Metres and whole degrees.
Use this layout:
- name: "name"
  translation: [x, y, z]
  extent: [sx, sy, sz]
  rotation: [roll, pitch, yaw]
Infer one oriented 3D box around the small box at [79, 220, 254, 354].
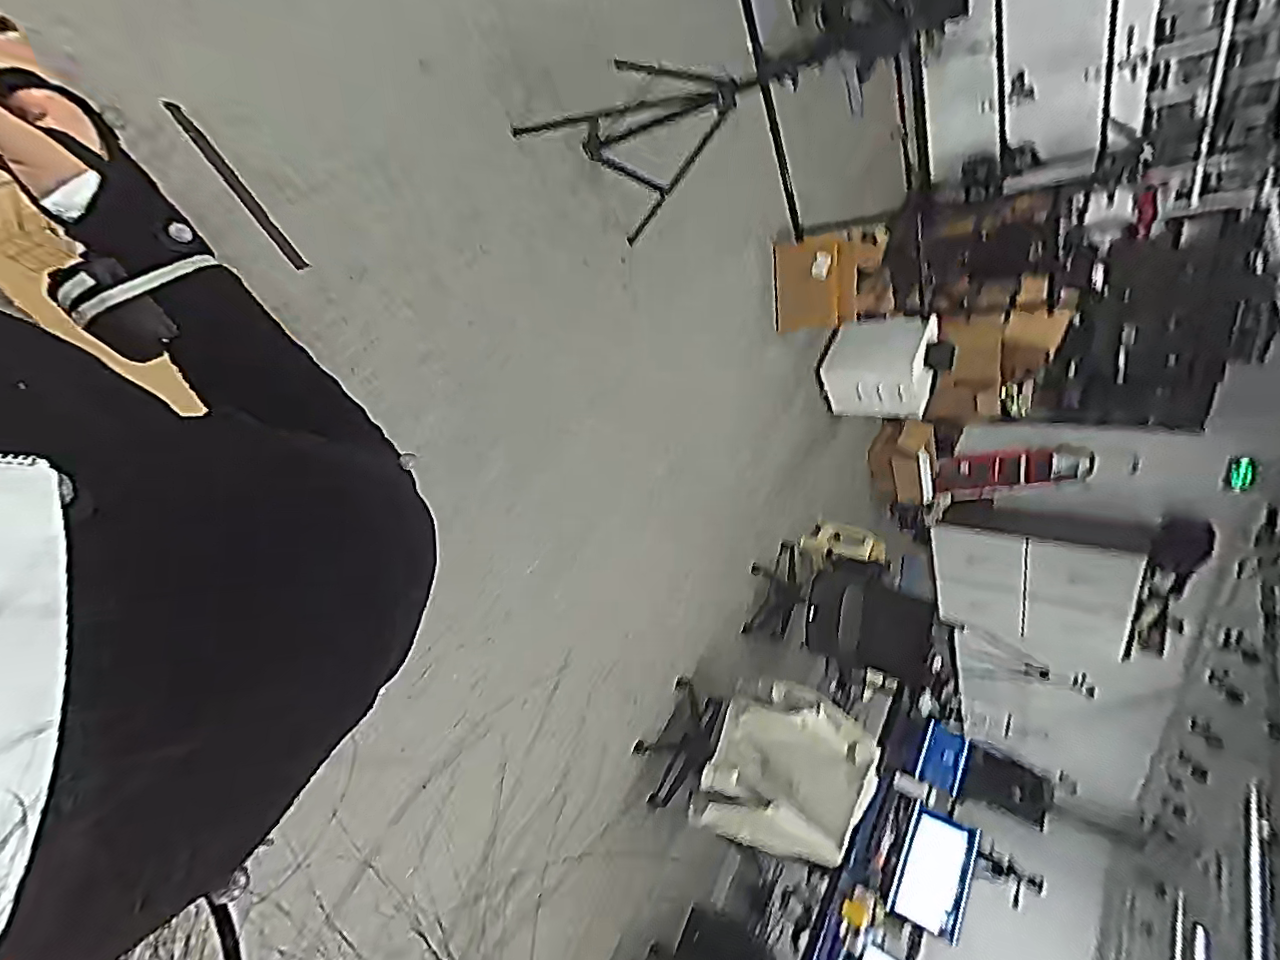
- name: "small box"
  translation: [-0.873, -0.347, 1.000]
  extent: [0.179, 0.176, 0.168]
  rotation: [-53, 132, -29]
